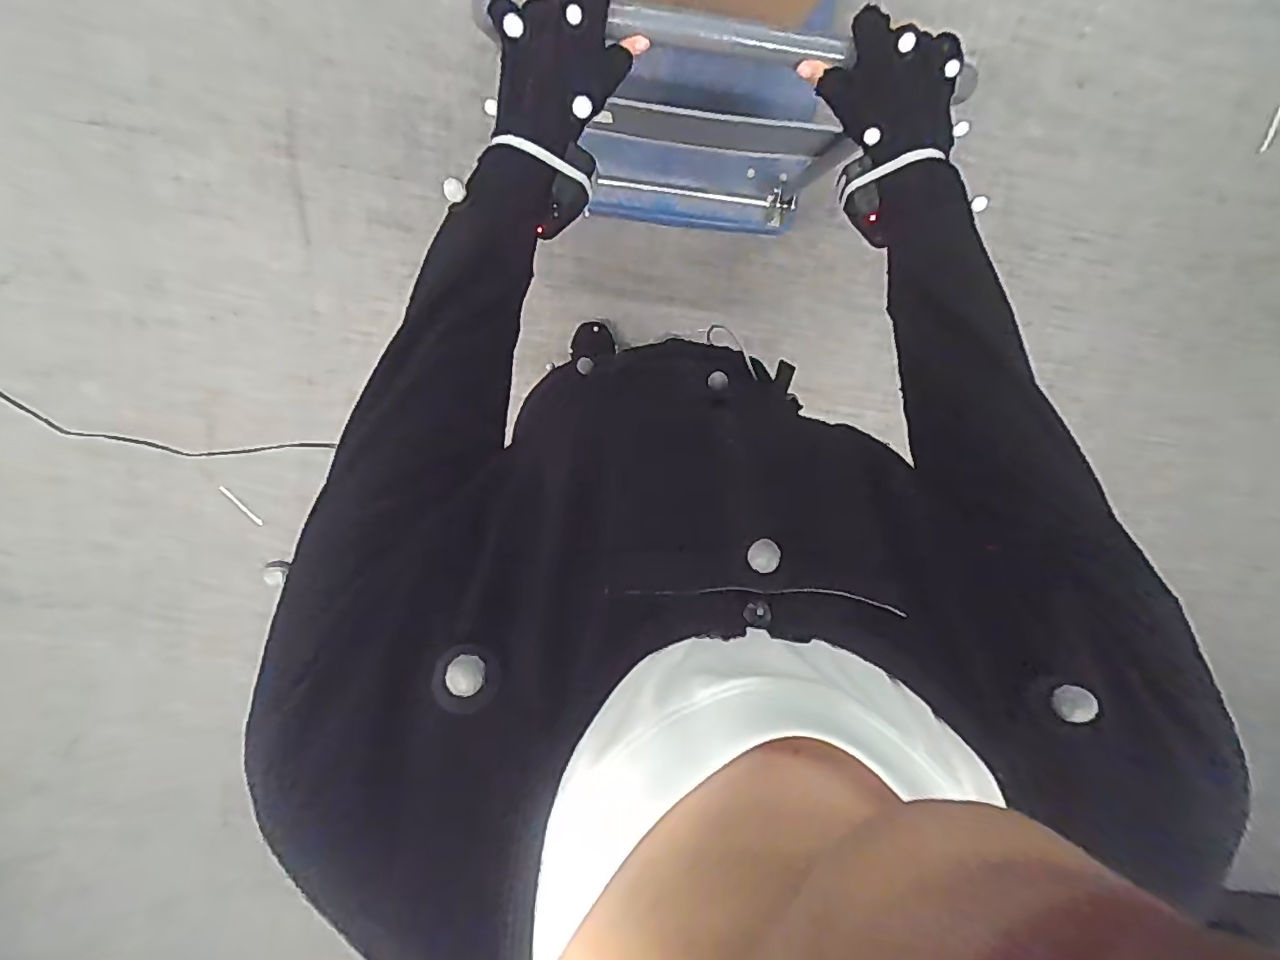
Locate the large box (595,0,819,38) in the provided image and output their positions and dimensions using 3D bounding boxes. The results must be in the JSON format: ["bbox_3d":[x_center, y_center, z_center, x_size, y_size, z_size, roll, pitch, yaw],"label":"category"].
[{"bbox_3d":[0.130,-0.979,0.858,0.408,0.320,0.320,8,107,-4],"label":"large box"}]
